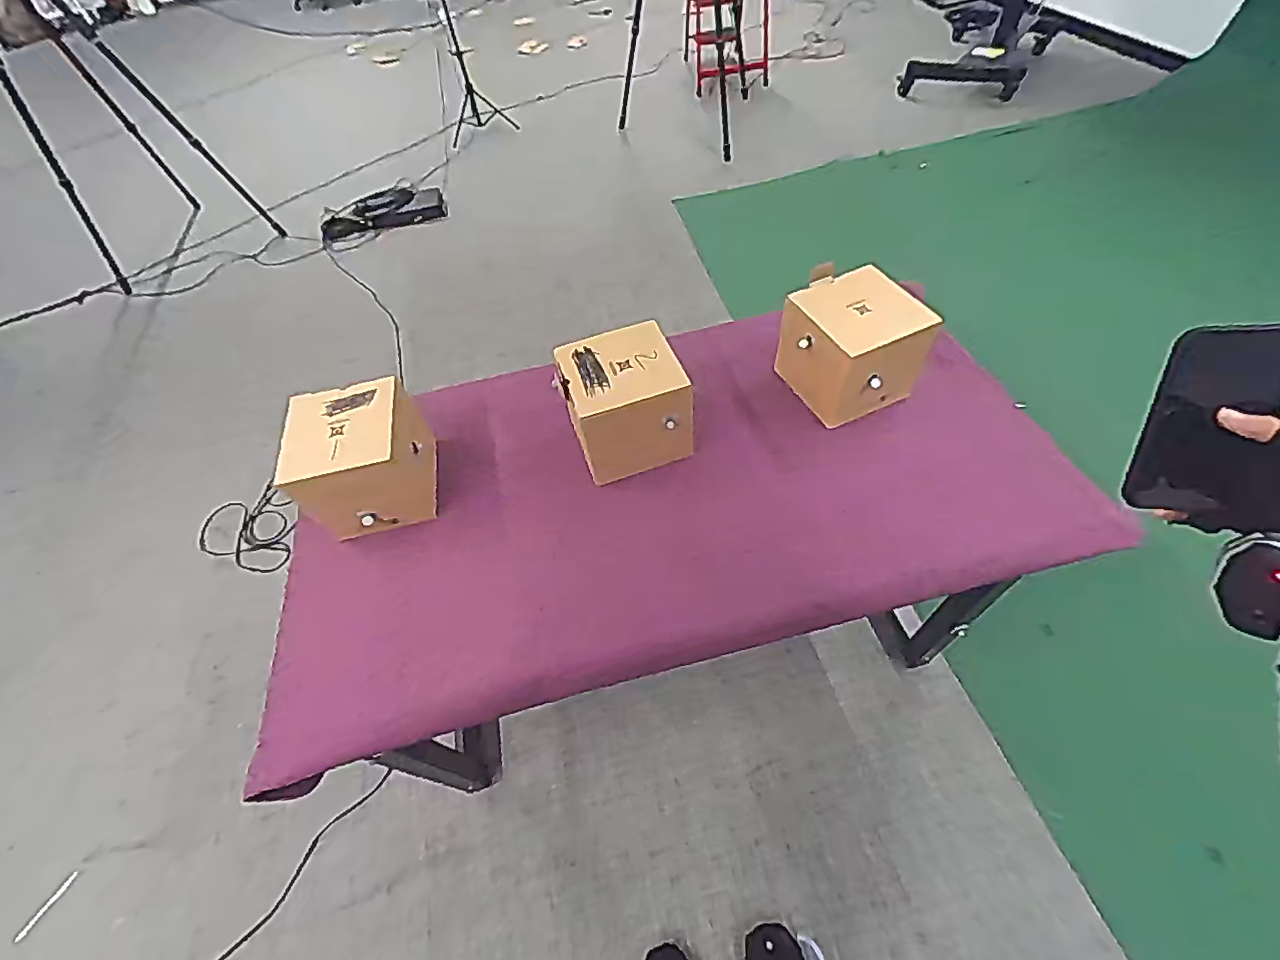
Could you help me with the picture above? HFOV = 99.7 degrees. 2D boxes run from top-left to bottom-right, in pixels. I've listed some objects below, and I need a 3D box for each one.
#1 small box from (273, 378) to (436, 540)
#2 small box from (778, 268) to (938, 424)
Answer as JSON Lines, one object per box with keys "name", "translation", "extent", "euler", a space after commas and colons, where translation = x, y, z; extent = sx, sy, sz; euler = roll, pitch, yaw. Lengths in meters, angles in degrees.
{"name": "small box", "translation": [-0.438, -0.031, 0.861], "extent": [0.168, 0.176, 0.179], "euler": [-13, 56, -3]}
{"name": "small box", "translation": [0.353, -0.217, 0.913], "extent": [0.168, 0.176, 0.179], "euler": [-23, 55, -9]}
